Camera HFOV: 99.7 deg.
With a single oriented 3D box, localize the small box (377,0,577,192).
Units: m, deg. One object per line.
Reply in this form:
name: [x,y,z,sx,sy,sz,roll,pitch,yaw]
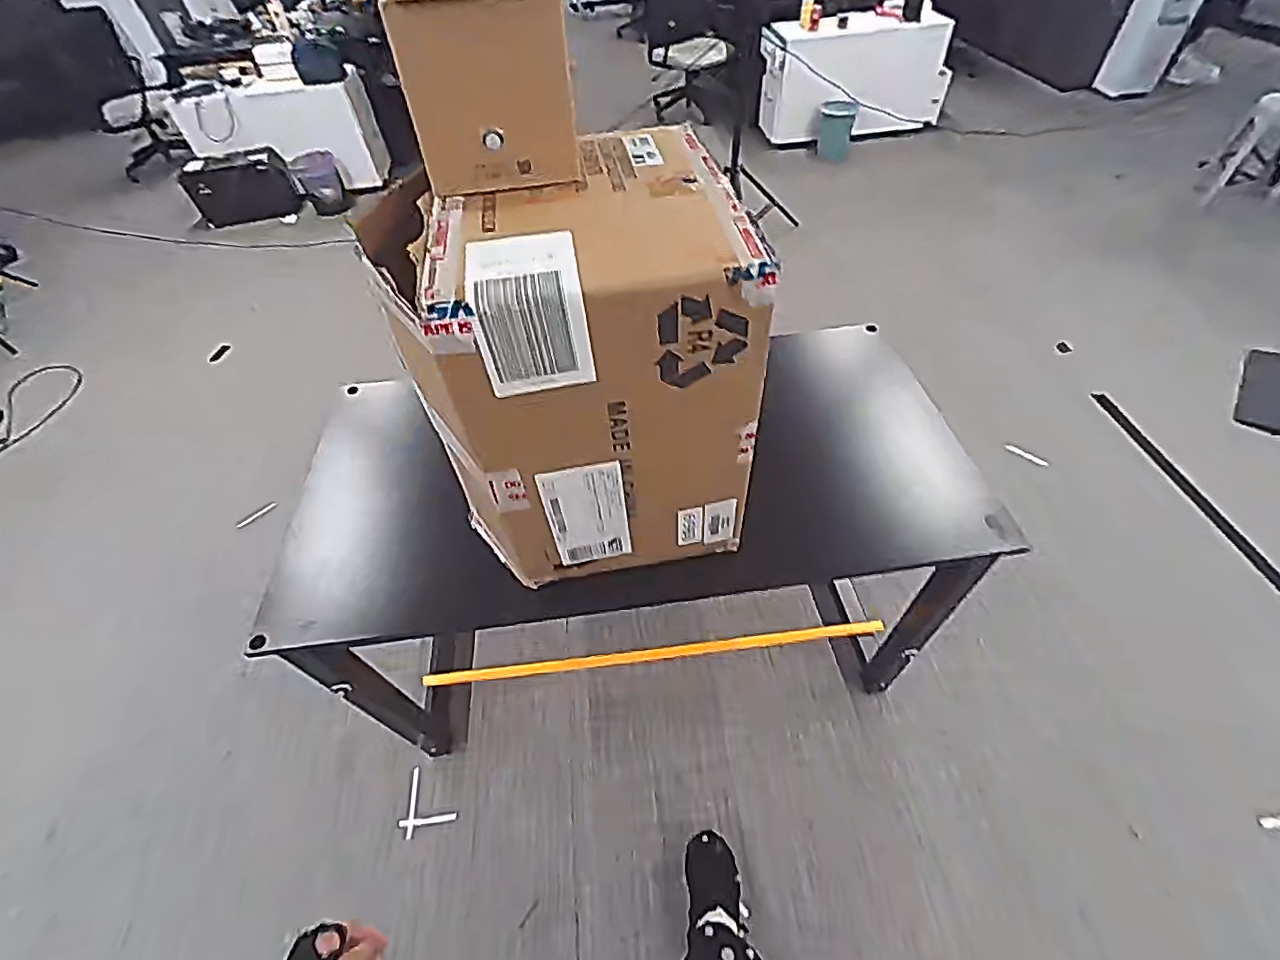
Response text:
small box: [-0.169,-0.444,0.603,0.168,0.176,0.179,-11,49,-6]
